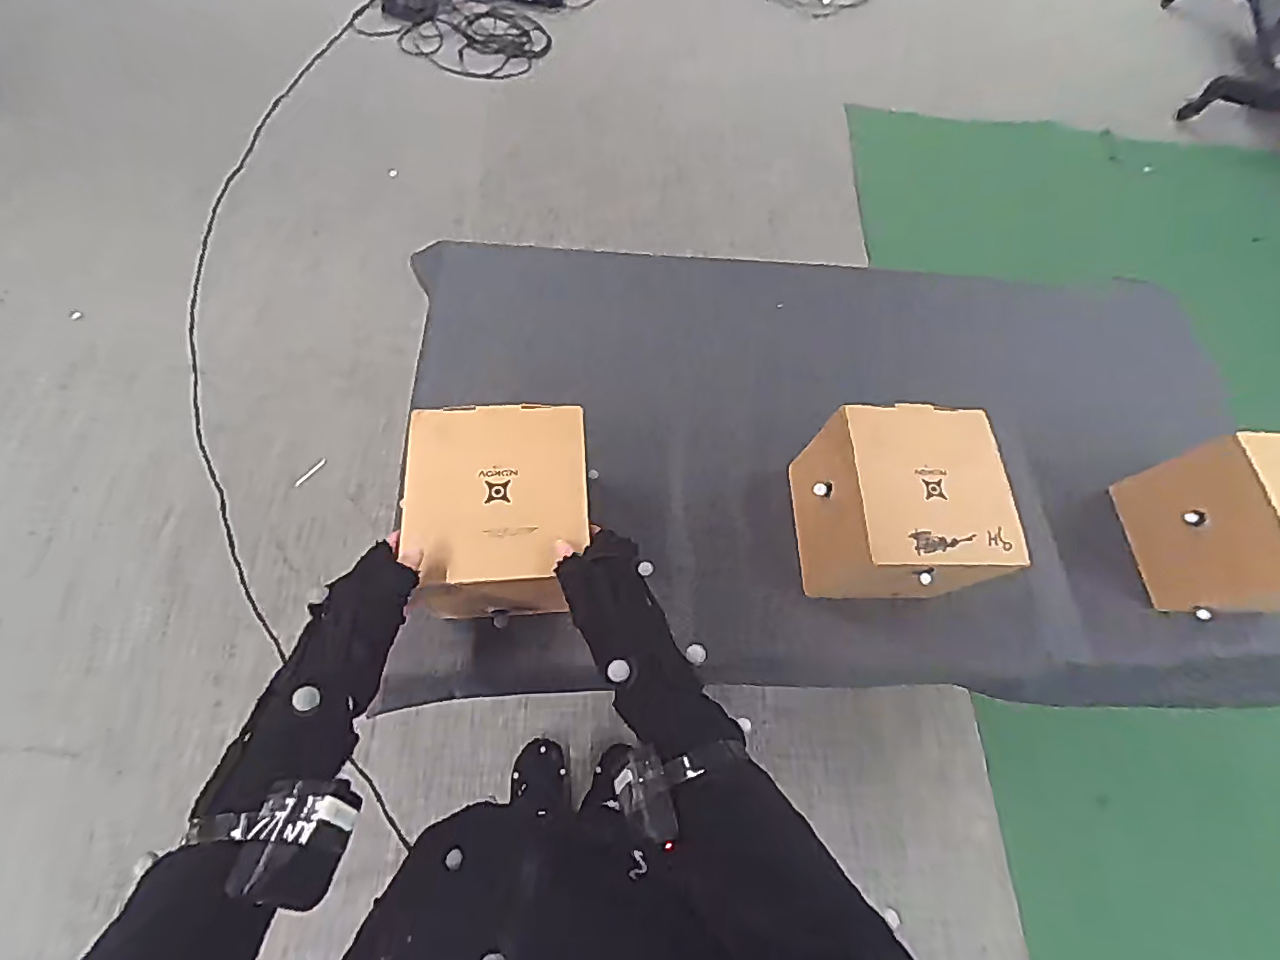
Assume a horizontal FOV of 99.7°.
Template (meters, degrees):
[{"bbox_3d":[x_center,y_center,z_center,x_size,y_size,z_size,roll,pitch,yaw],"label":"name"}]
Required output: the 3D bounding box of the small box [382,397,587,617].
[{"bbox_3d":[-0.139,0.034,0.550,0.168,0.176,0.179,-1,66,-6],"label":"small box"}]

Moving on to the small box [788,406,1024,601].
[{"bbox_3d":[0.284,0.035,0.625,0.168,0.176,0.179,2,67,-7],"label":"small box"}]

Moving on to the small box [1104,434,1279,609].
[{"bbox_3d":[0.742,0.060,0.668,0.168,0.176,0.179,2,66,-6],"label":"small box"}]
